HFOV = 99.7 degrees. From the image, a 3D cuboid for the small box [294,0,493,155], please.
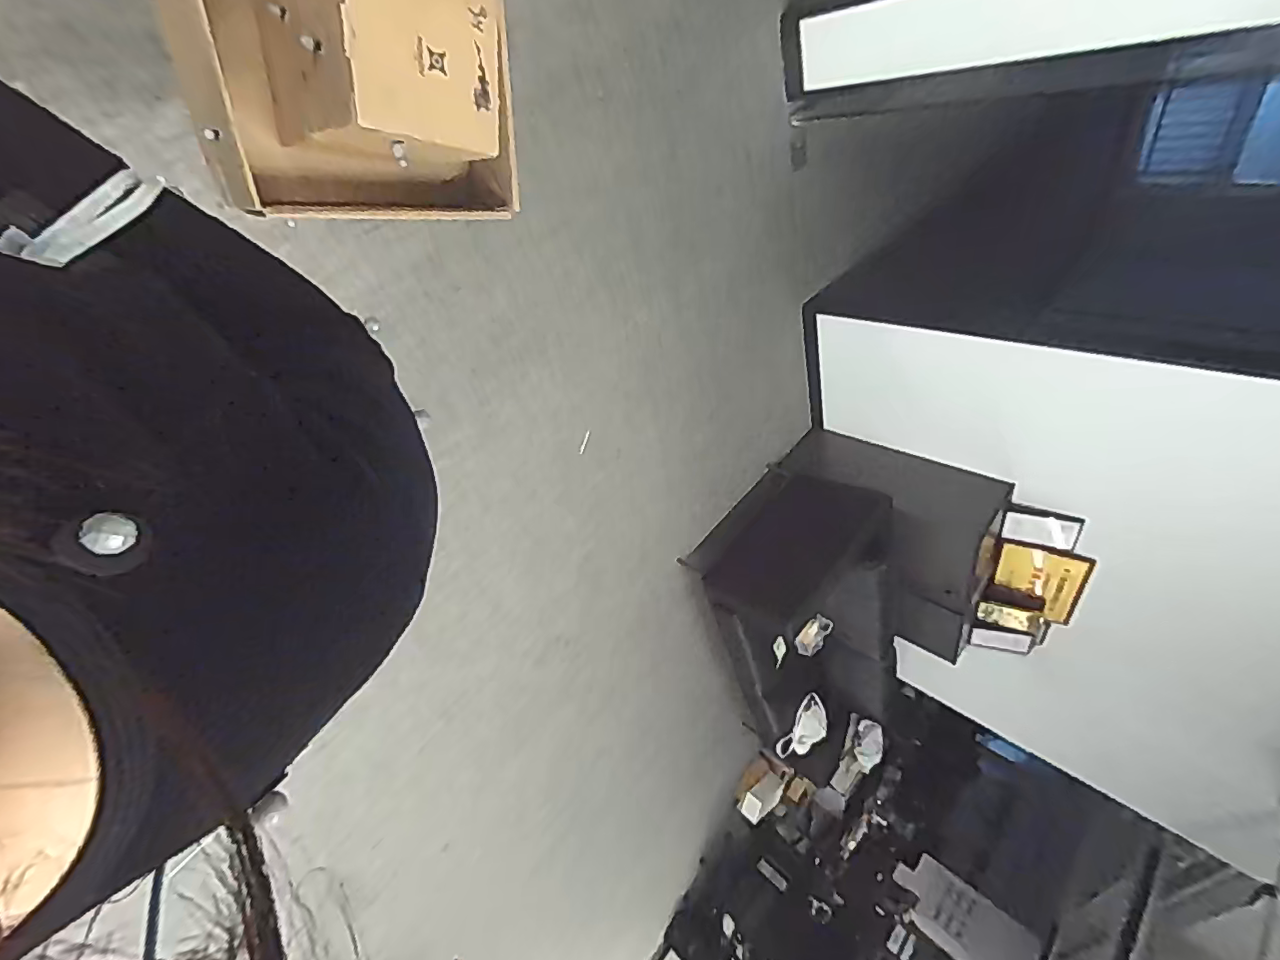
[{"bbox_3d":[-0.297,-0.502,0.652,0.179,0.176,0.168,-16,121,-42],"label":"small box"}]
